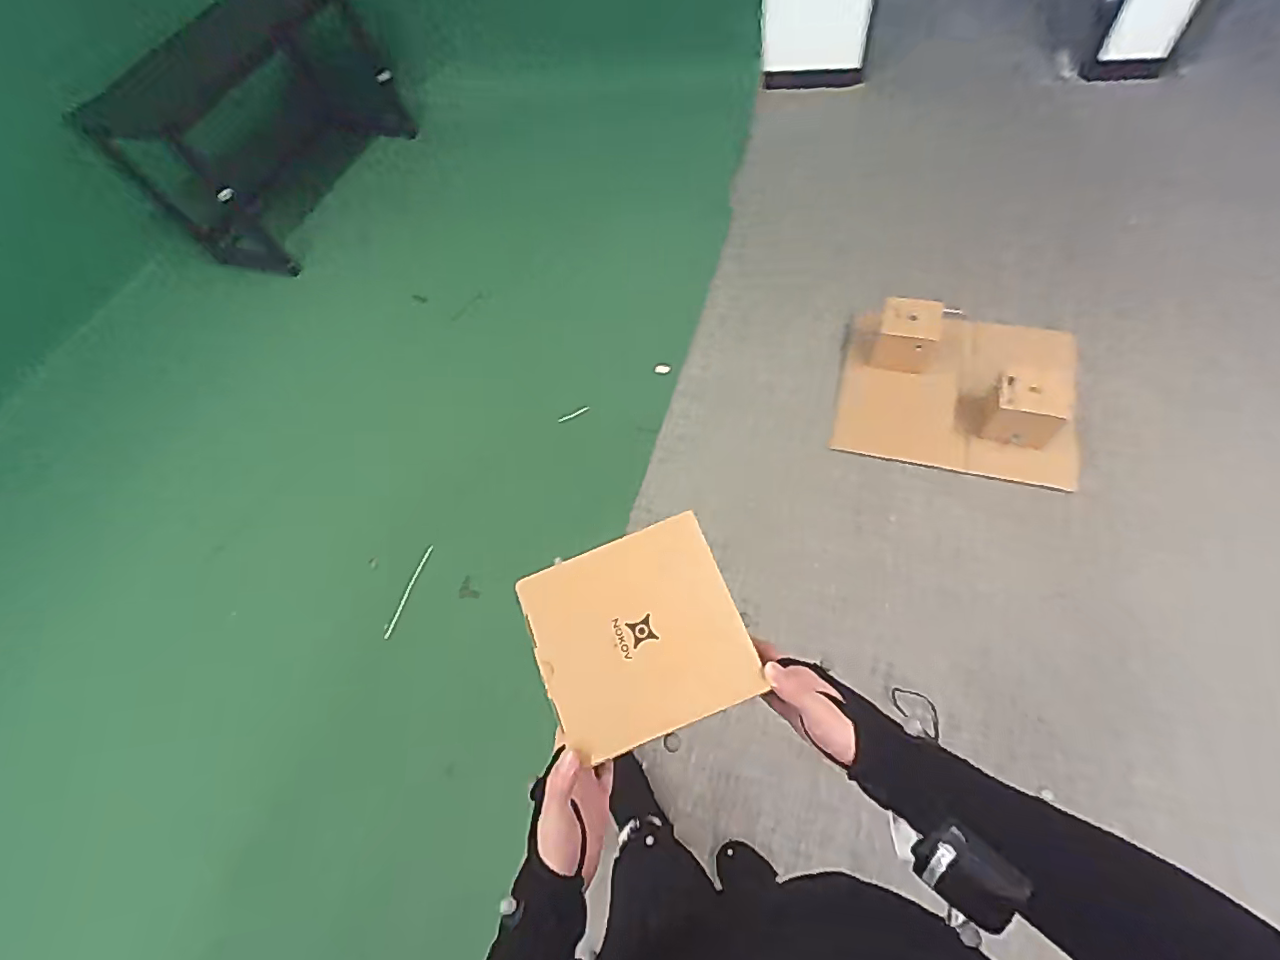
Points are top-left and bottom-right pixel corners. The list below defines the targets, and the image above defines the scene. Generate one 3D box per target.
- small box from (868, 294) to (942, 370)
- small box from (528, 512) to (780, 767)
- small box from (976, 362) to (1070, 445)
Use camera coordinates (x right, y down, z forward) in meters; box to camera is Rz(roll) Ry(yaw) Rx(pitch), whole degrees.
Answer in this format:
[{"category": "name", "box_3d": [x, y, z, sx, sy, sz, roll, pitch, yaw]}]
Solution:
[{"category": "small box", "box_3d": [0.875, -0.485, 1.794, 0.179, 0.176, 0.168, 13, 65, 17]}, {"category": "small box", "box_3d": [0.015, 0.152, 0.536, 0.179, 0.176, 0.168, -22, 71, 0]}, {"category": "small box", "box_3d": [1.137, -0.223, 1.611, 0.179, 0.176, 0.168, 15, 66, 18]}]
